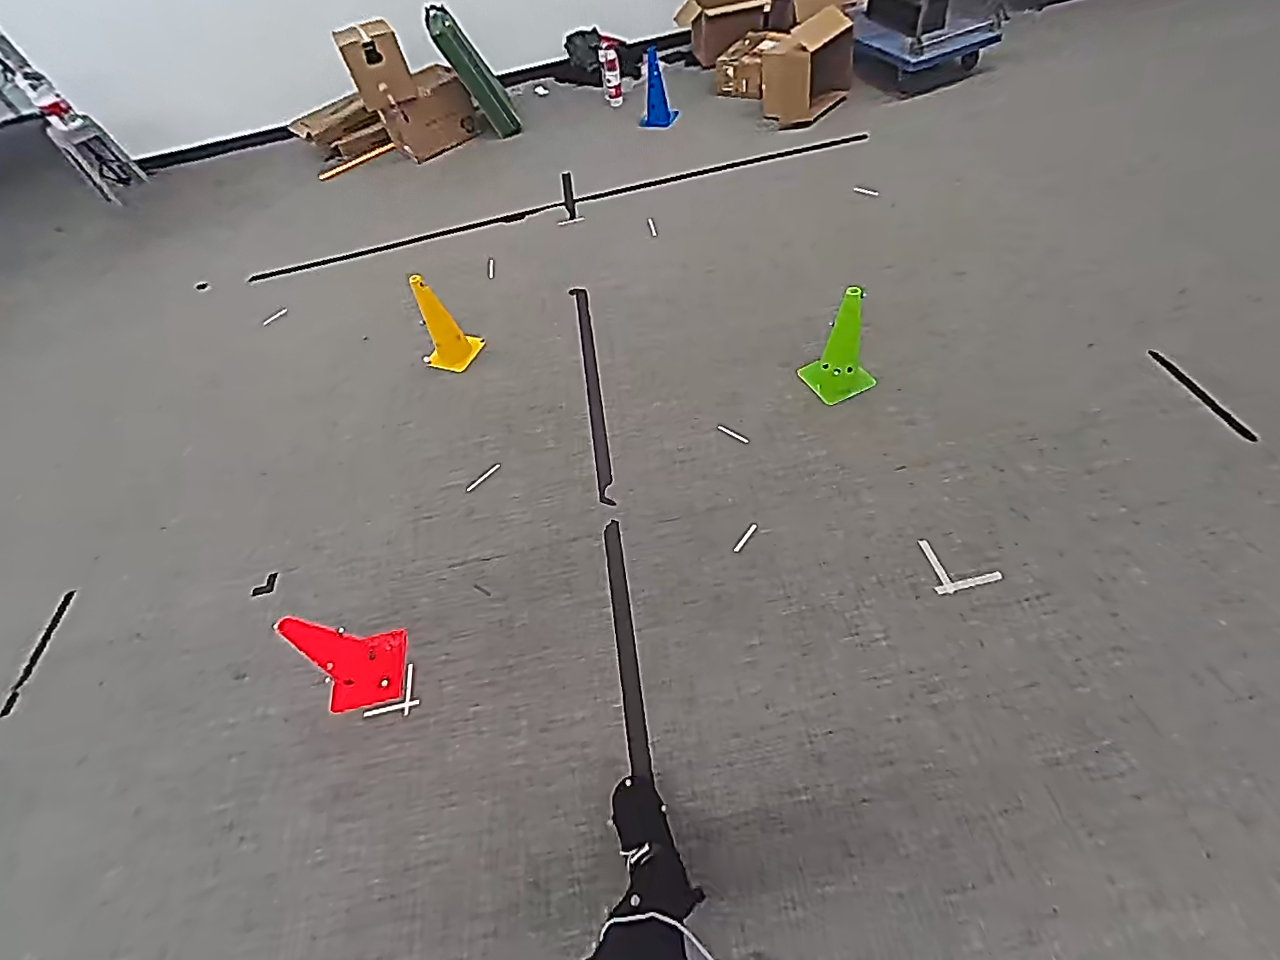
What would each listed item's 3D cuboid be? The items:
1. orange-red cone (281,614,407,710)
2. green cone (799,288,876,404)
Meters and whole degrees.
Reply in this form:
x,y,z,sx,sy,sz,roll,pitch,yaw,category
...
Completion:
x,y,z,sx,sy,sz,roll,pitch,yaw,category
-0.775,0.422,1.364,0.198,0.360,0.199,-12,52,1,orange-red cone
0.660,-0.455,1.740,0.200,0.368,0.202,-25,55,-7,green cone
